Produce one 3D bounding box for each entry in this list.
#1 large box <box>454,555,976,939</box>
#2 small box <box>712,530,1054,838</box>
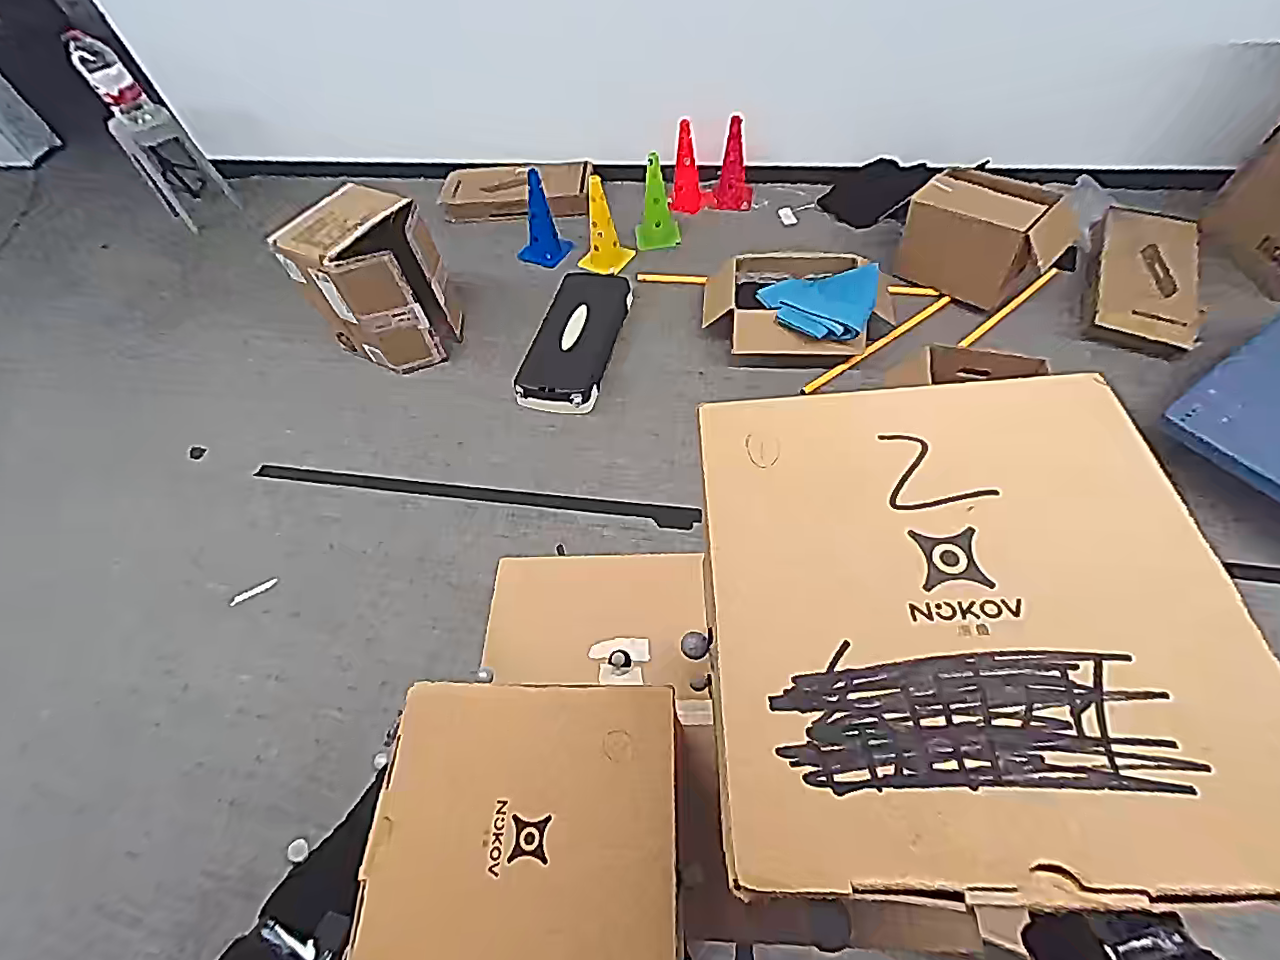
[{"bbox_3d":[0.067,0.287,0.611,0.408,0.320,0.320,-4,57,6],"label":"large box"},{"bbox_3d":[0.139,0.154,0.393,0.168,0.176,0.179,-5,58,6],"label":"small box"}]
